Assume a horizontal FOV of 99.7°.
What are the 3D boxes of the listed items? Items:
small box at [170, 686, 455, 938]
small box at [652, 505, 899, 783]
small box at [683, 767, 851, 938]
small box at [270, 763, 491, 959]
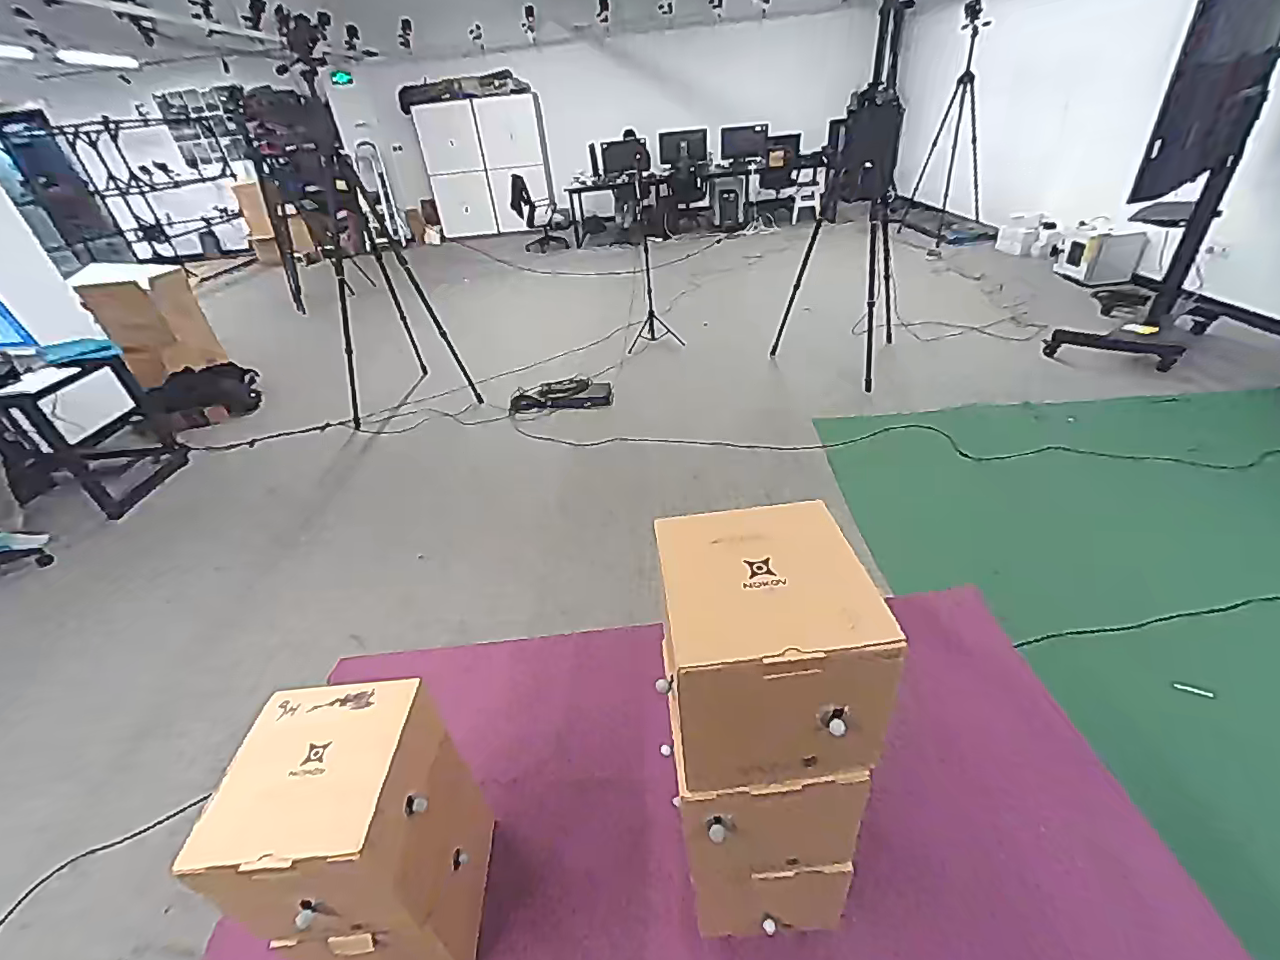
[{"bbox_3d":[-0.310,0.346,0.564,0.168,0.176,0.179,-6,35,1],"label":"small box"},{"bbox_3d":[0.104,0.148,0.487,0.168,0.176,0.179,-7,33,0],"label":"small box"},{"bbox_3d":[0.140,0.421,0.664,0.168,0.176,0.179,-6,34,3],"label":"small box"},{"bbox_3d":[-0.290,0.481,0.655,0.168,0.176,0.179,-7,33,-1],"label":"small box"}]
